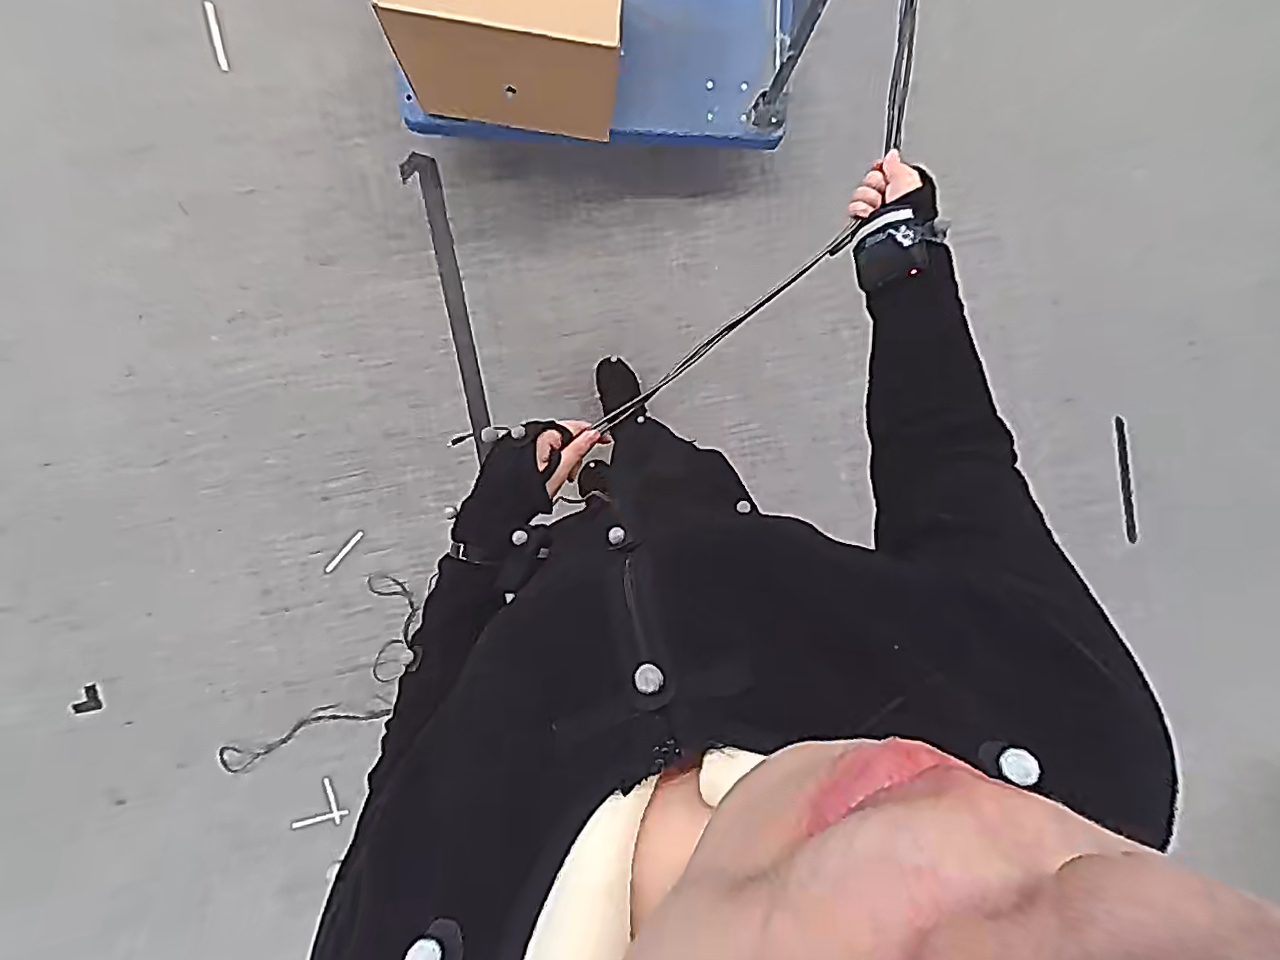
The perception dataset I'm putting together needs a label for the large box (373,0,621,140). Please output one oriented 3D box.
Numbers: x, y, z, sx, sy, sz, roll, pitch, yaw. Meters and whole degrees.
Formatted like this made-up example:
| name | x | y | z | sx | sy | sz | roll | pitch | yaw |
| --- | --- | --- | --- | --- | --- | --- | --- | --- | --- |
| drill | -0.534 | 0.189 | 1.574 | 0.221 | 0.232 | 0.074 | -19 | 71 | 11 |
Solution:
| name | x | y | z | sx | sy | sz | roll | pitch | yaw |
| --- | --- | --- | --- | --- | --- | --- | --- | --- | --- |
| large box | -0.239 | -0.904 | 1.030 | 0.408 | 0.320 | 0.320 | 4 | 94 | -6 |
